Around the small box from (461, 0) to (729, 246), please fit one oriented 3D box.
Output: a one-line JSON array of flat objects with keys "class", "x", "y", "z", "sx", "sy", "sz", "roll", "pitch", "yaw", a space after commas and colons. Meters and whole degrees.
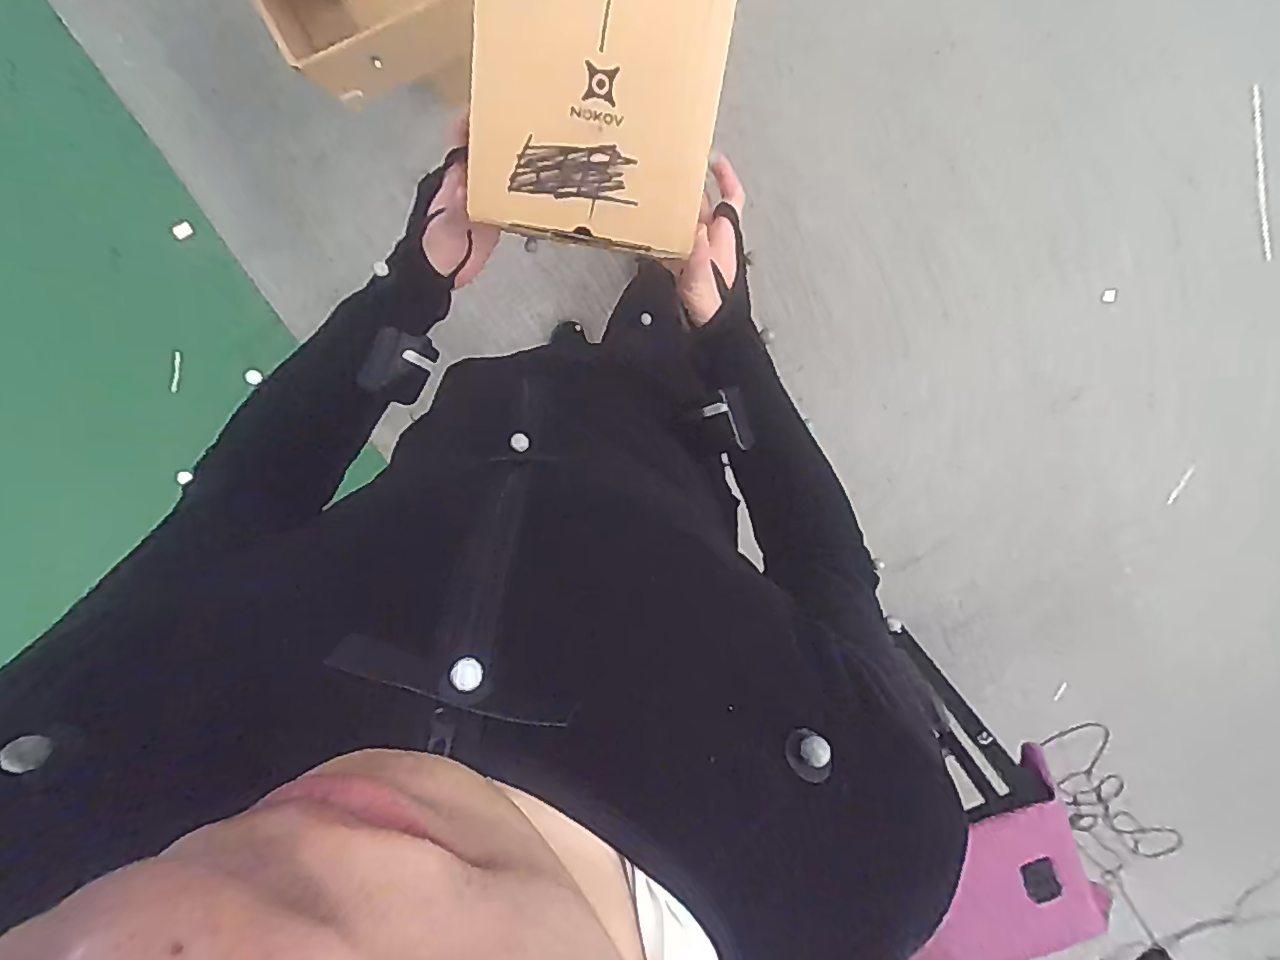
[{"class": "small box", "x": -0.037, "y": -0.292, "z": 0.431, "sx": 0.168, "sy": 0.176, "sz": 0.179, "roll": 7, "pitch": 111, "yaw": -7}]
